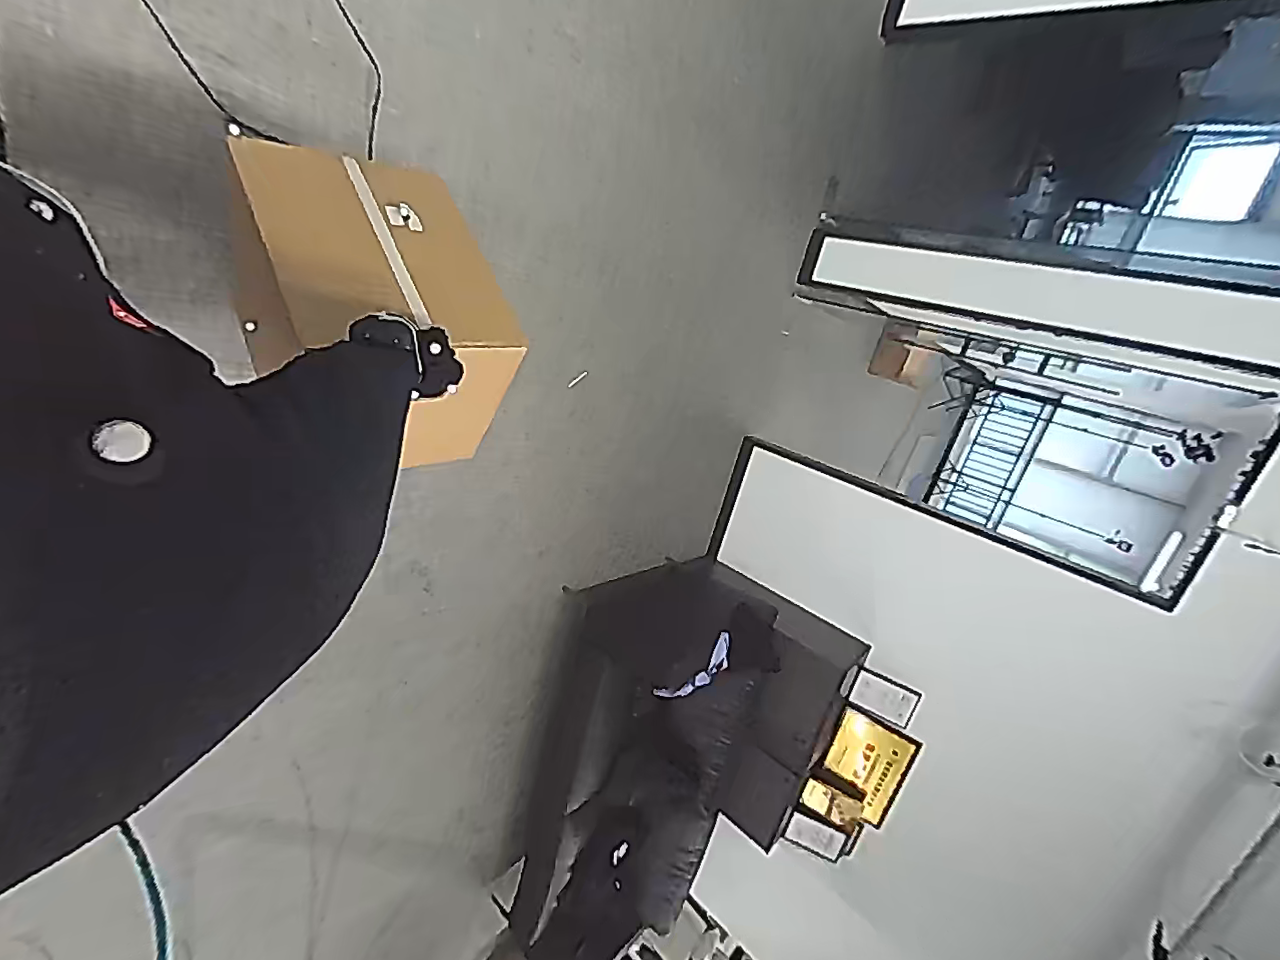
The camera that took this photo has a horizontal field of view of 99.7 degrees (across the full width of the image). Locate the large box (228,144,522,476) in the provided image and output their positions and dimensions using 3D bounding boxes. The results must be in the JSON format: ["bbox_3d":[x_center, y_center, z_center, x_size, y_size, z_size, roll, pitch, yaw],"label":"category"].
[{"bbox_3d":[-0.459,-0.271,0.921,0.320,0.408,0.320,-13,155,-41],"label":"large box"}]
